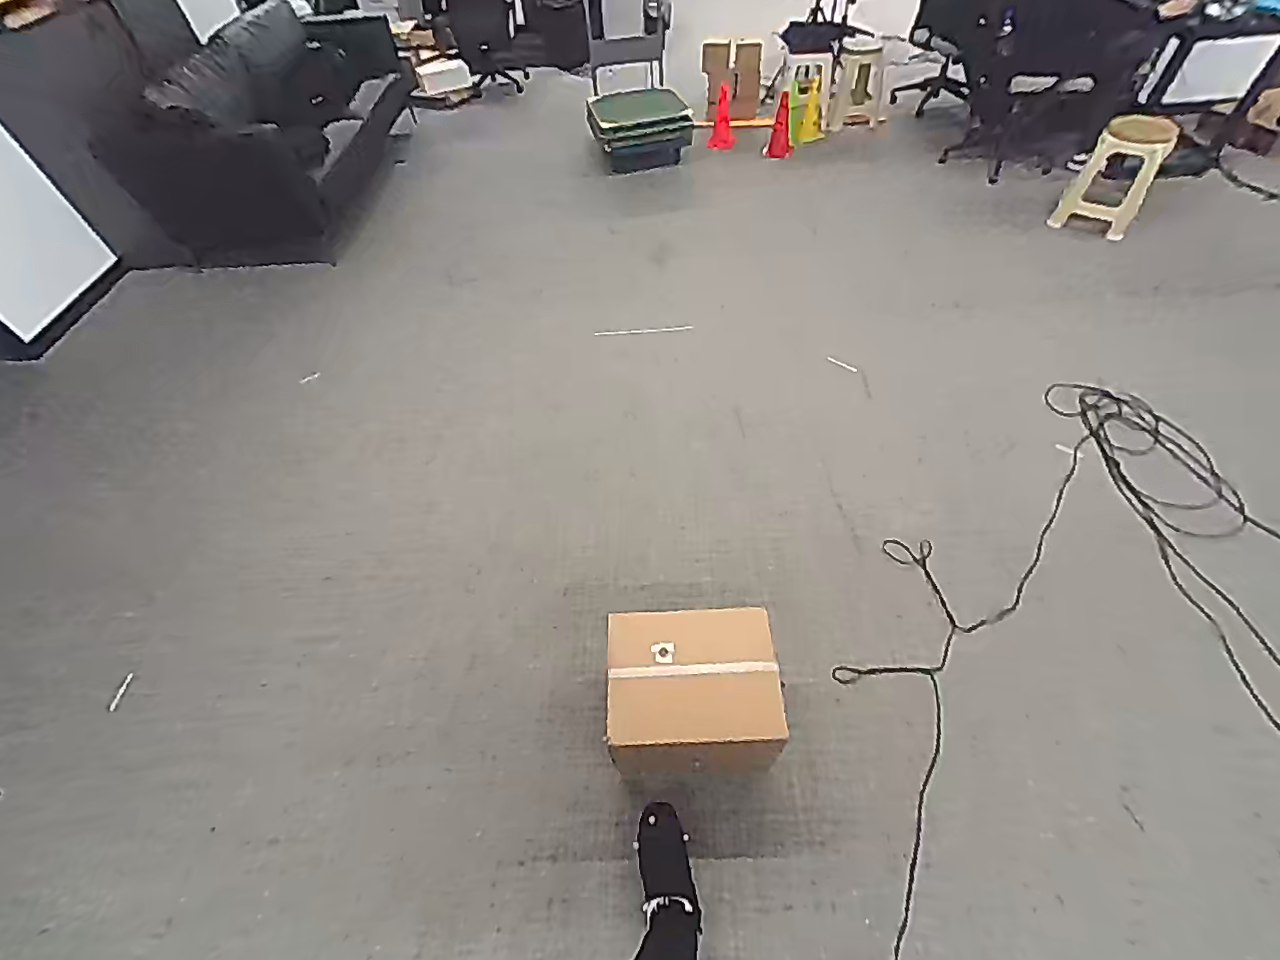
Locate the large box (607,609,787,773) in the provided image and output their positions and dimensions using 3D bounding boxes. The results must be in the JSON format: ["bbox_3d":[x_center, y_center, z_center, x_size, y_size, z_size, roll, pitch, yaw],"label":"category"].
[{"bbox_3d":[0.134,0.557,1.408,0.408,0.320,0.320,-5,50,2],"label":"large box"}]
